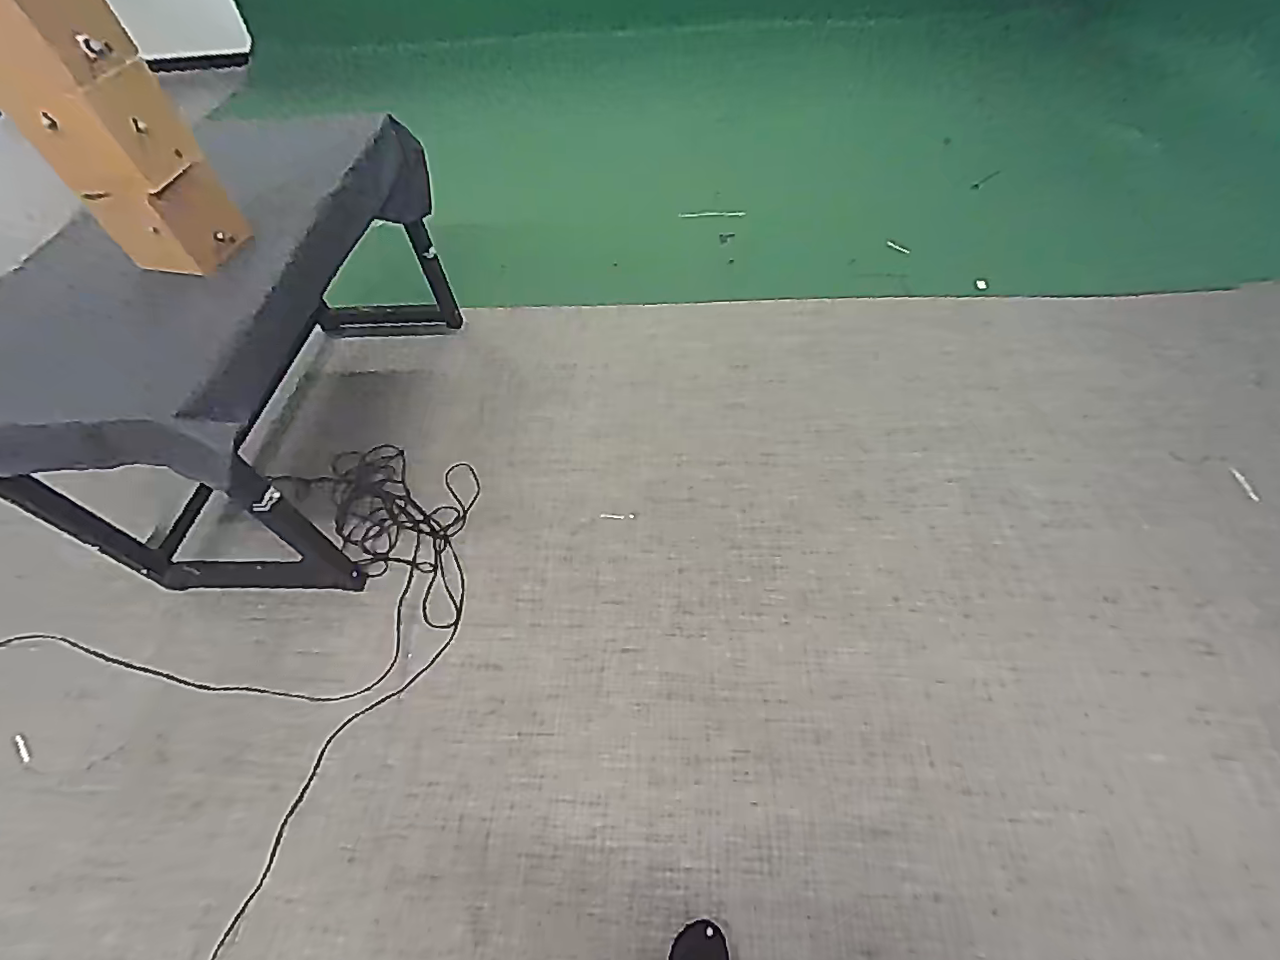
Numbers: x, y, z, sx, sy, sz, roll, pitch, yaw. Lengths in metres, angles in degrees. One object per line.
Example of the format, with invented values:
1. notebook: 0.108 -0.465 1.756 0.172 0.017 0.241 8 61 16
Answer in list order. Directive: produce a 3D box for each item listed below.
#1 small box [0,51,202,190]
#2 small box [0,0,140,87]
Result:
1. small box: -0.972 -0.654 0.992 0.179 0.176 0.168 2 55 6
2. small box: -0.984 -0.754 0.865 0.179 0.176 0.168 1 56 4
